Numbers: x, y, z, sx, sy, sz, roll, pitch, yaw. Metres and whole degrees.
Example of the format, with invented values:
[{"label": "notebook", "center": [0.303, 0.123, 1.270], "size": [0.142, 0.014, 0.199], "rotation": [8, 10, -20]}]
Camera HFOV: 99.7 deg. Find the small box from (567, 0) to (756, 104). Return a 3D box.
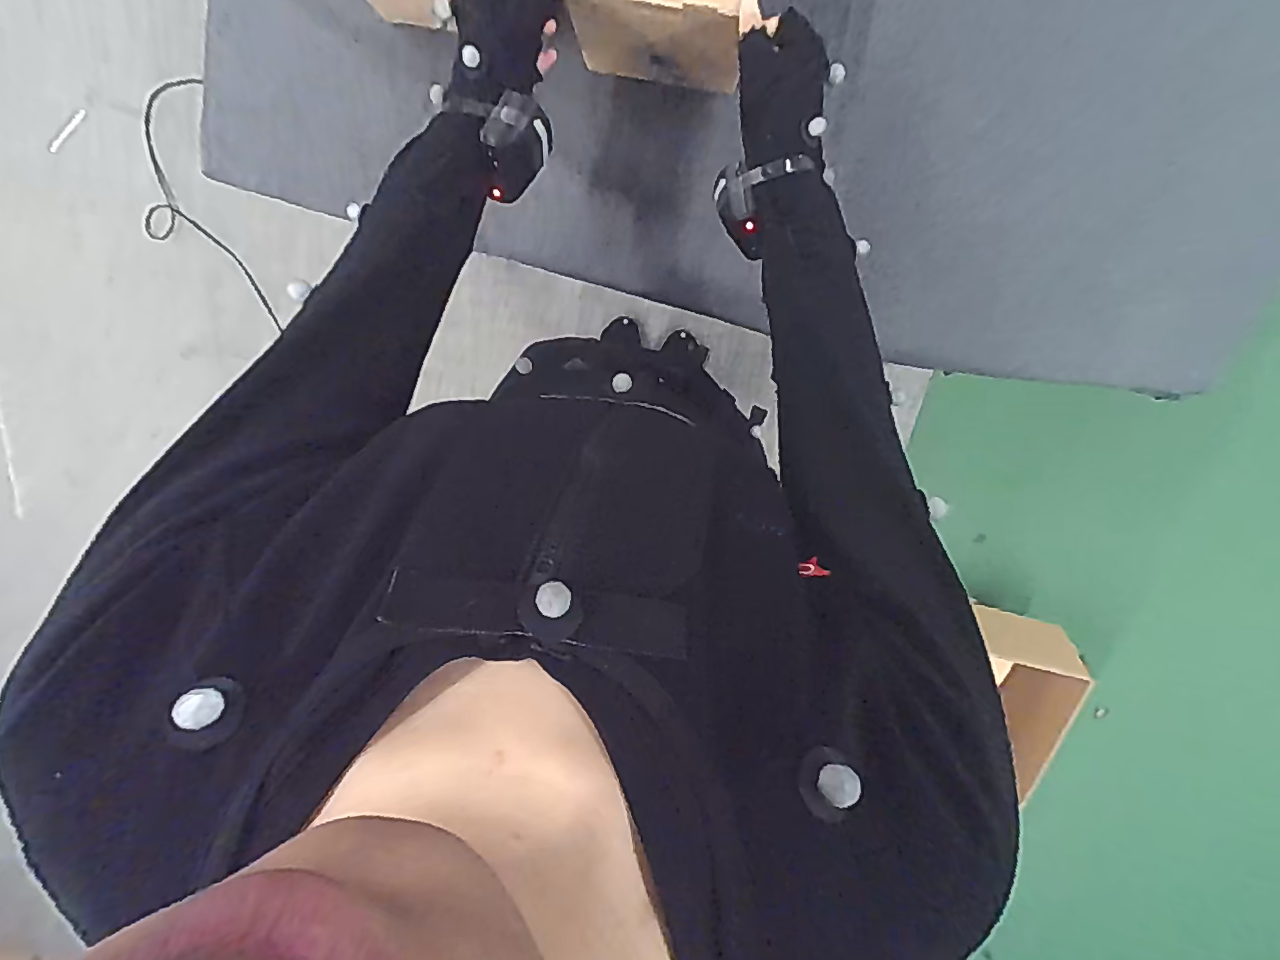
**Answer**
[{"label": "small box", "center": [0.030, -0.492, 0.503], "size": [0.168, 0.176, 0.179], "rotation": [10, 107, 0]}]
